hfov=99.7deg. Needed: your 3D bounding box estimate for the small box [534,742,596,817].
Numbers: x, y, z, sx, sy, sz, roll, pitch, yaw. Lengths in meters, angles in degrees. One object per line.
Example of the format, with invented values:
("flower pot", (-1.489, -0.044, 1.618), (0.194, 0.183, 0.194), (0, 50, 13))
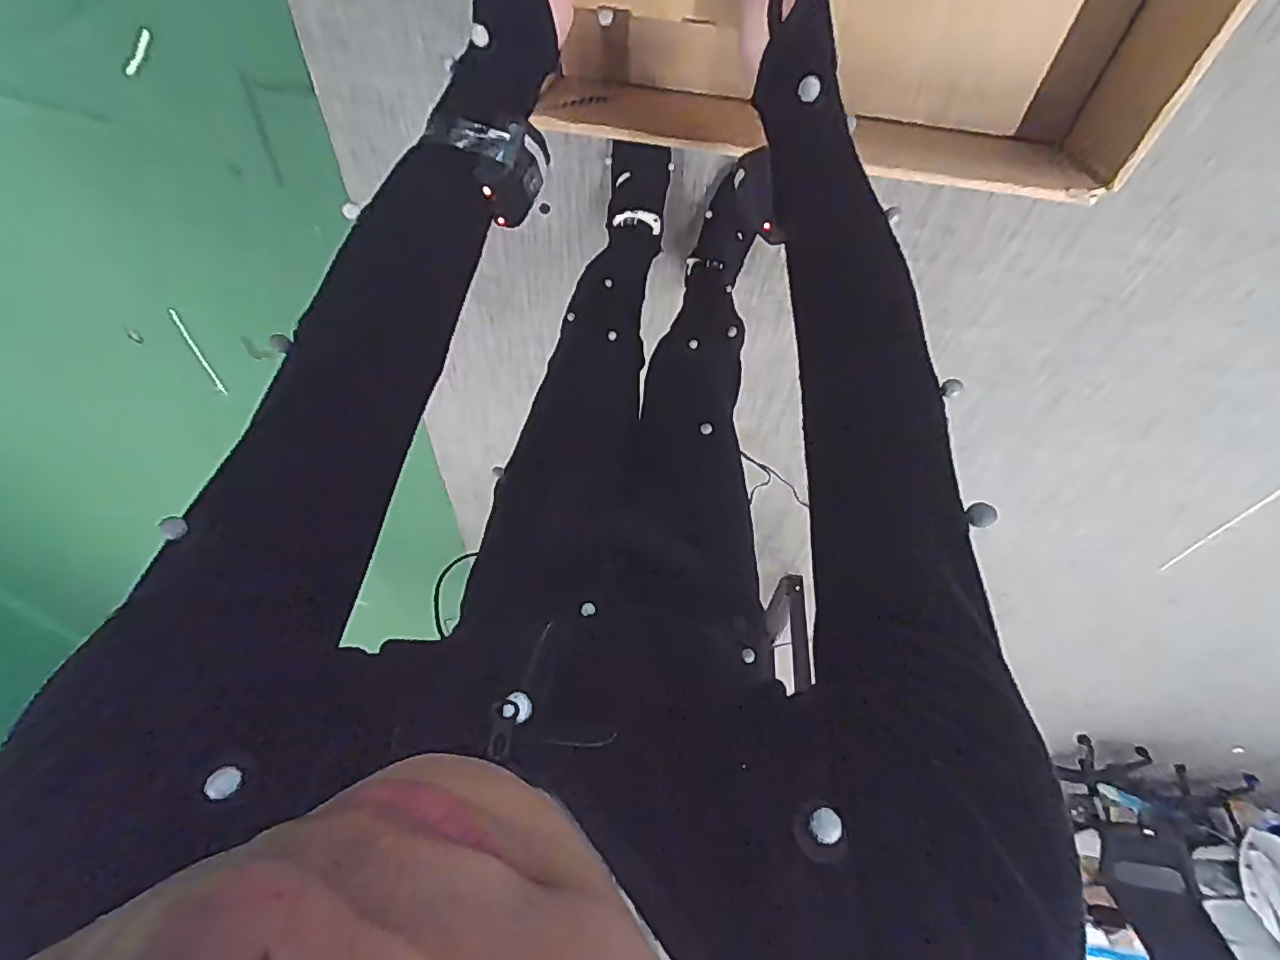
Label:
("small box", (-0.233, 0.957, 1.728), (0.168, 0.176, 0.179), (8, 141, 1))
